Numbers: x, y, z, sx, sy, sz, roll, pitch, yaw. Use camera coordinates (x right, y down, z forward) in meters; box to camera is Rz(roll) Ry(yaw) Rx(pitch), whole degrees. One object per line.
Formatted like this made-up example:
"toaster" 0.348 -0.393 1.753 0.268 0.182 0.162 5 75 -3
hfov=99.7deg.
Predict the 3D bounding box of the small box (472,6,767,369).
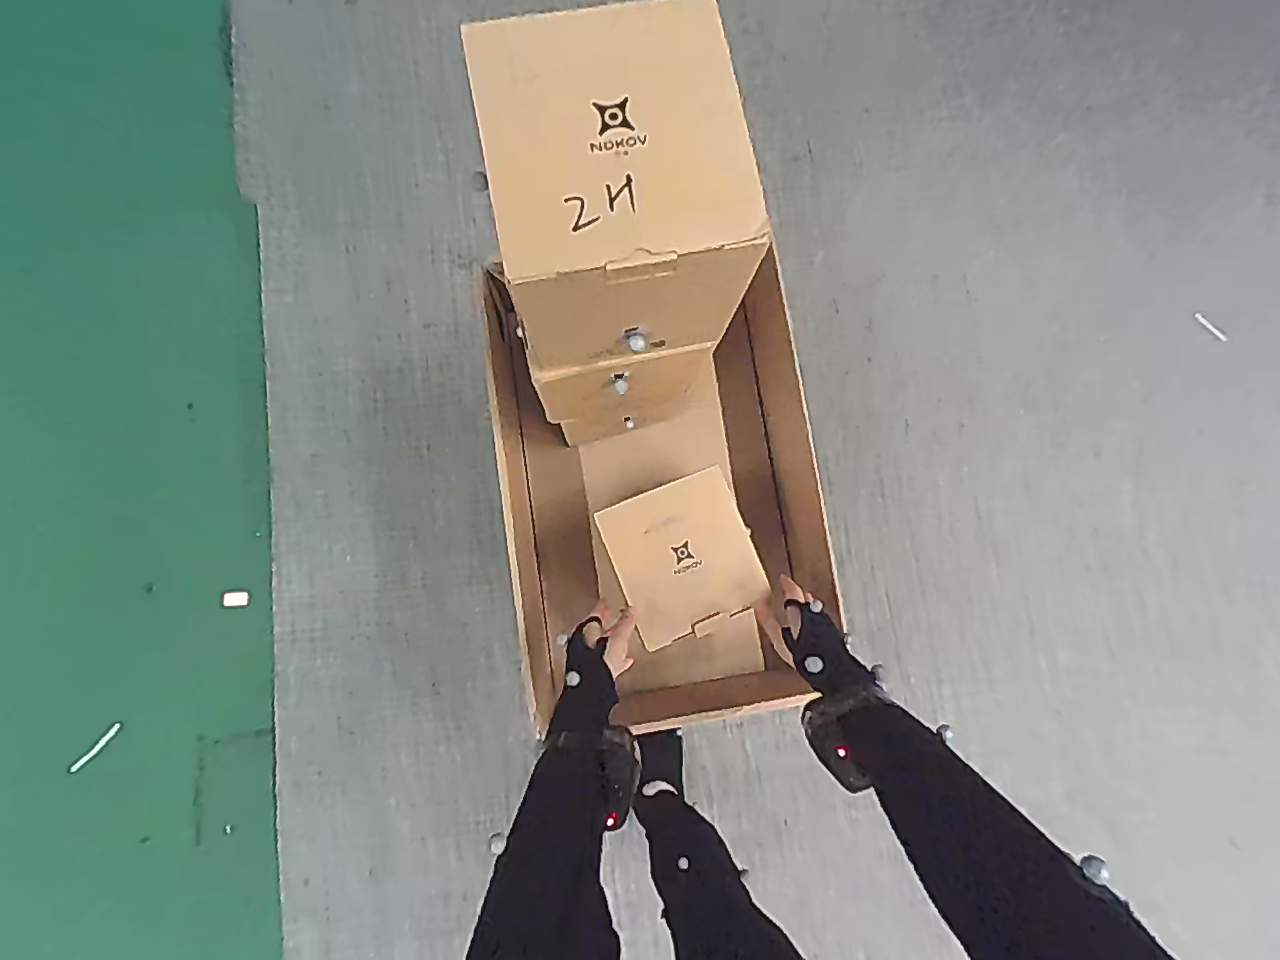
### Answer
"small box" -0.018 -0.205 0.421 0.168 0.176 0.179 -10 84 -3

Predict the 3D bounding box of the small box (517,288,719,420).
"small box" -0.031 -0.173 0.583 0.179 0.176 0.168 -13 84 -3

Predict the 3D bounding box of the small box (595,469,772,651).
"small box" 0.048 0.102 0.718 0.168 0.176 0.179 -21 84 -6
